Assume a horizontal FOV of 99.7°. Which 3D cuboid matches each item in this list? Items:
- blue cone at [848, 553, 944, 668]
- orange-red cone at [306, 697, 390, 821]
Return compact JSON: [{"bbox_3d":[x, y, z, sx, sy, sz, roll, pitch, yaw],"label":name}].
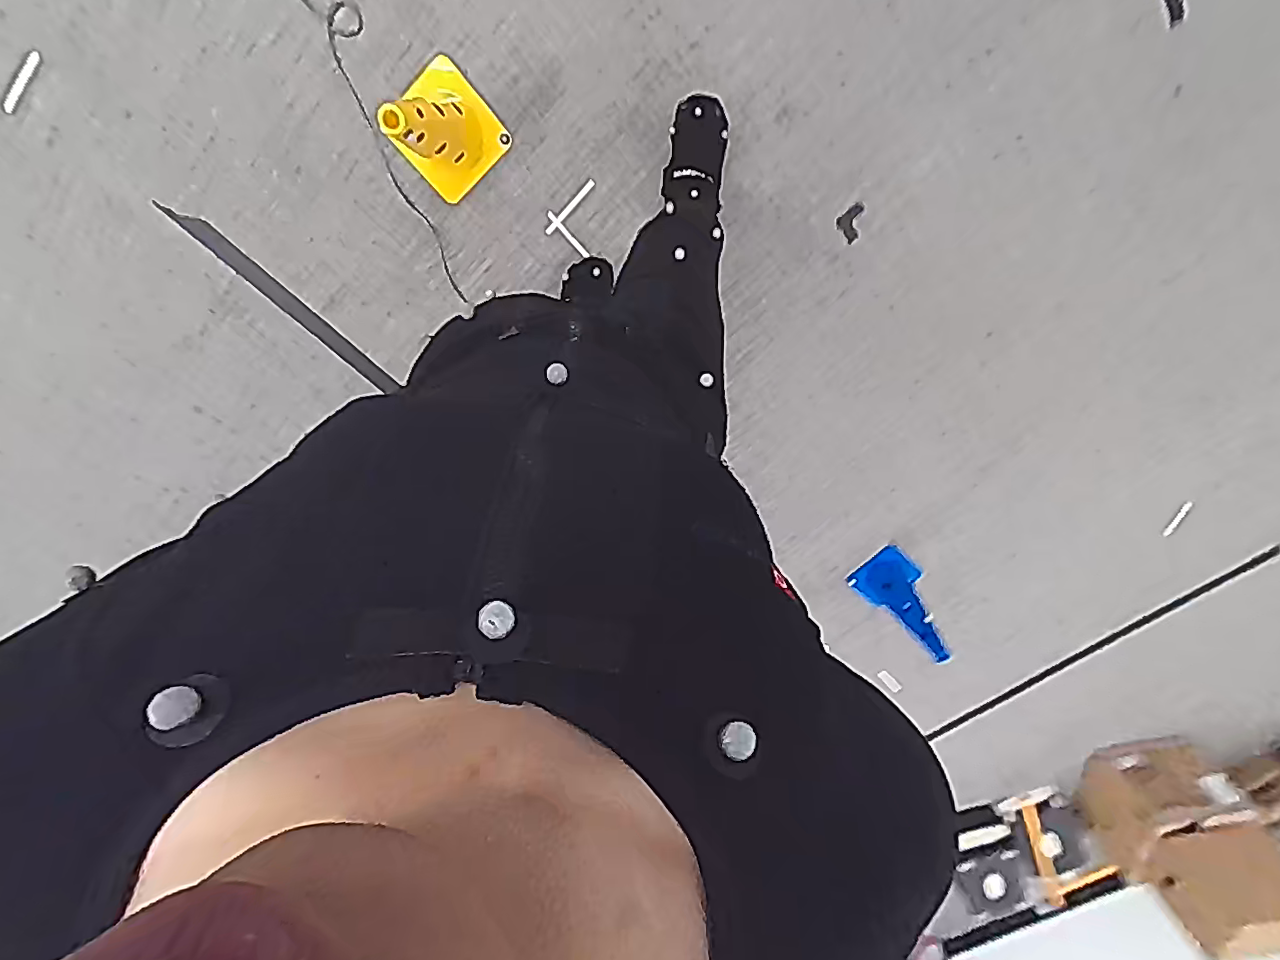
[{"bbox_3d":[0.833,0.419,1.678,0.193,0.380,0.192,38,110,-22],"label":"blue cone"},{"bbox_3d":[-1.038,0.970,1.844,0.199,0.360,0.198,39,111,-24],"label":"orange-red cone"}]
